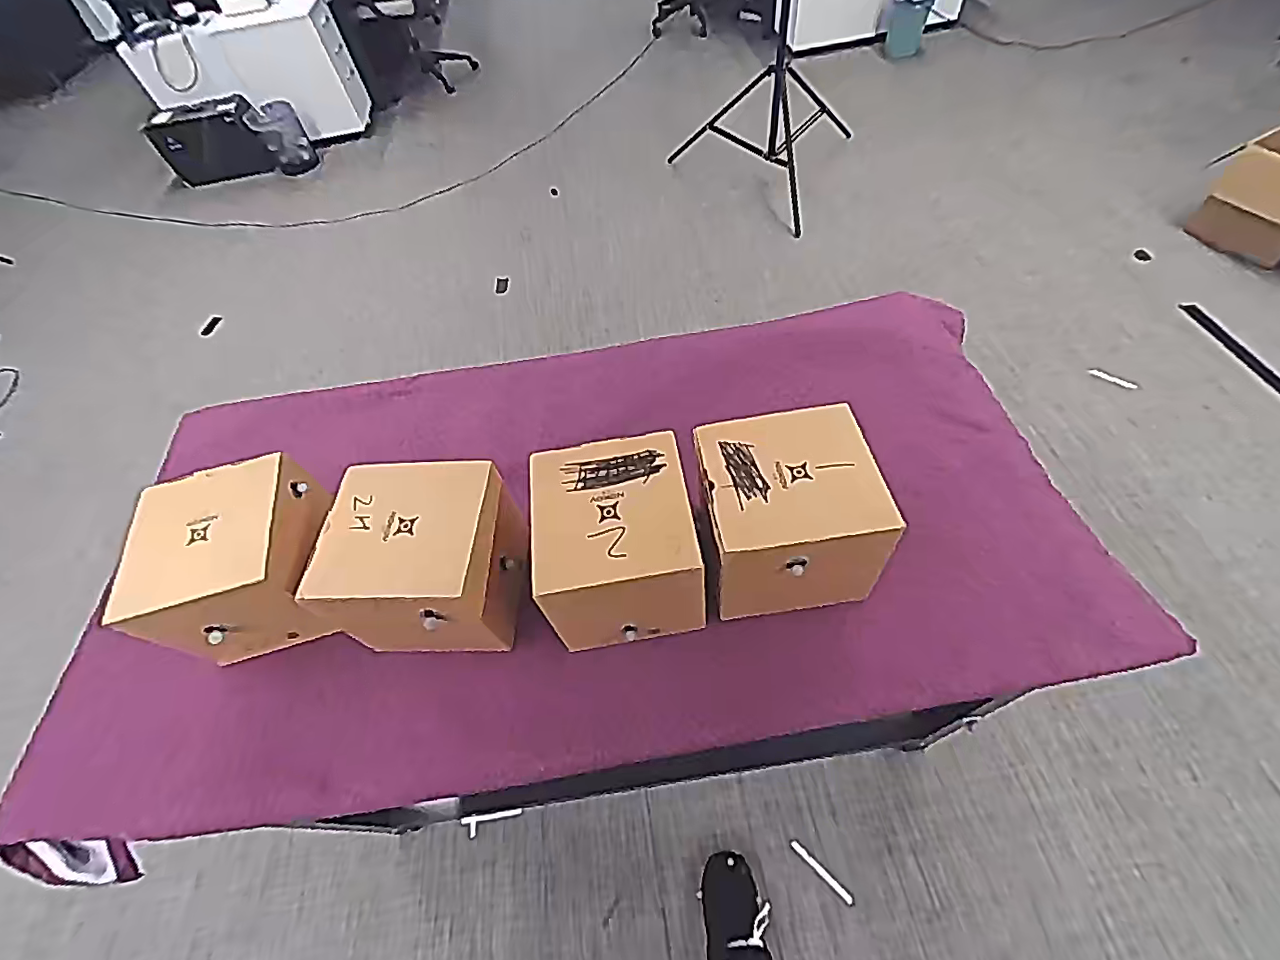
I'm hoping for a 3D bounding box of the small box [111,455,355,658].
[{"bbox_3d":[-0.475,0.103,0.666,0.168,0.176,0.179,-17,56,-4],"label":"small box"}]
